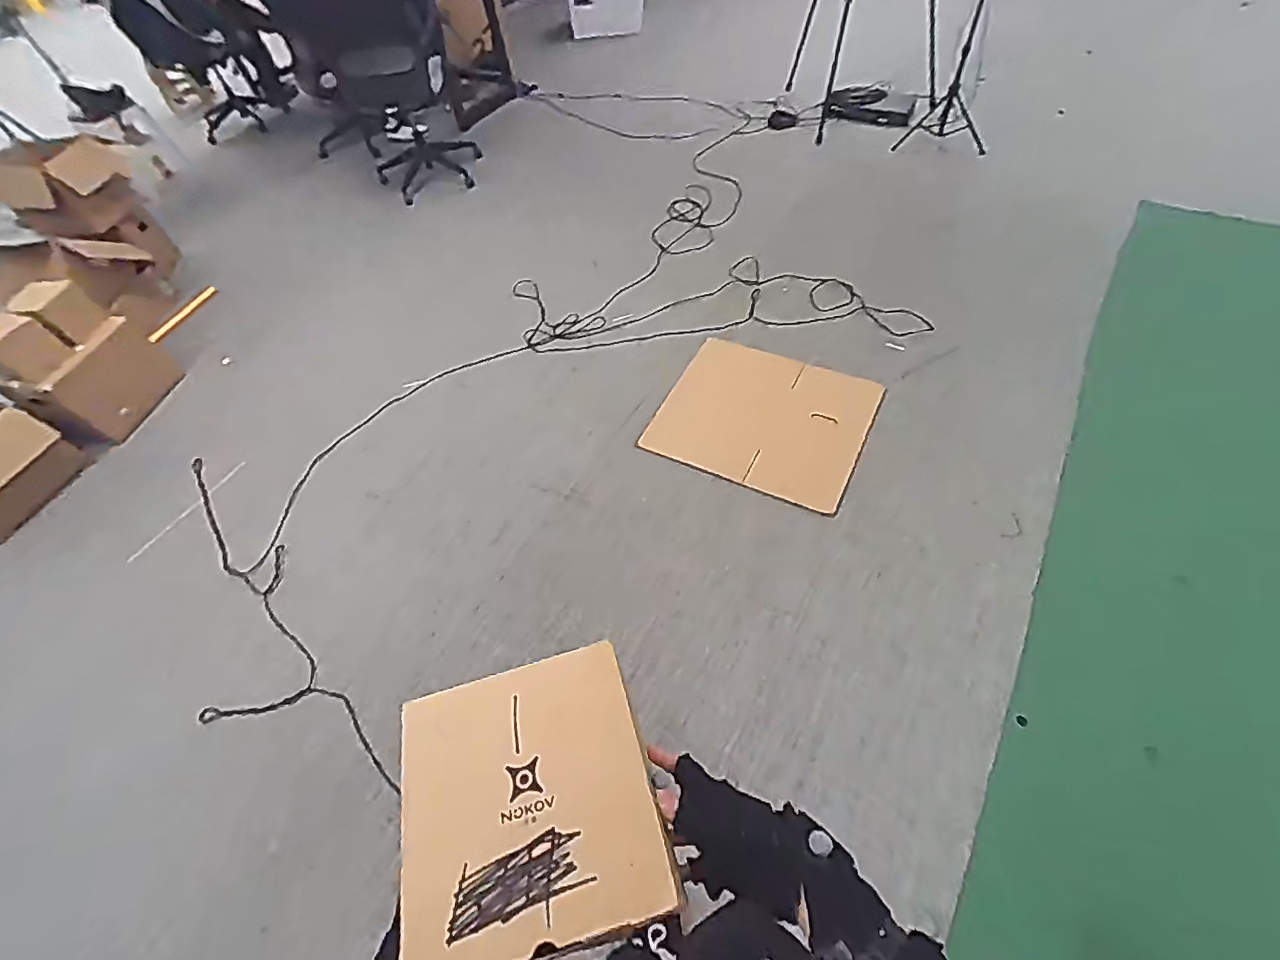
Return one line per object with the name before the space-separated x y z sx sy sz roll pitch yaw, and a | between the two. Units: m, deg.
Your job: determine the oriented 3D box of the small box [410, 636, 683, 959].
small box | -0.067 0.255 0.430 0.168 0.176 0.179 -15 52 -6
